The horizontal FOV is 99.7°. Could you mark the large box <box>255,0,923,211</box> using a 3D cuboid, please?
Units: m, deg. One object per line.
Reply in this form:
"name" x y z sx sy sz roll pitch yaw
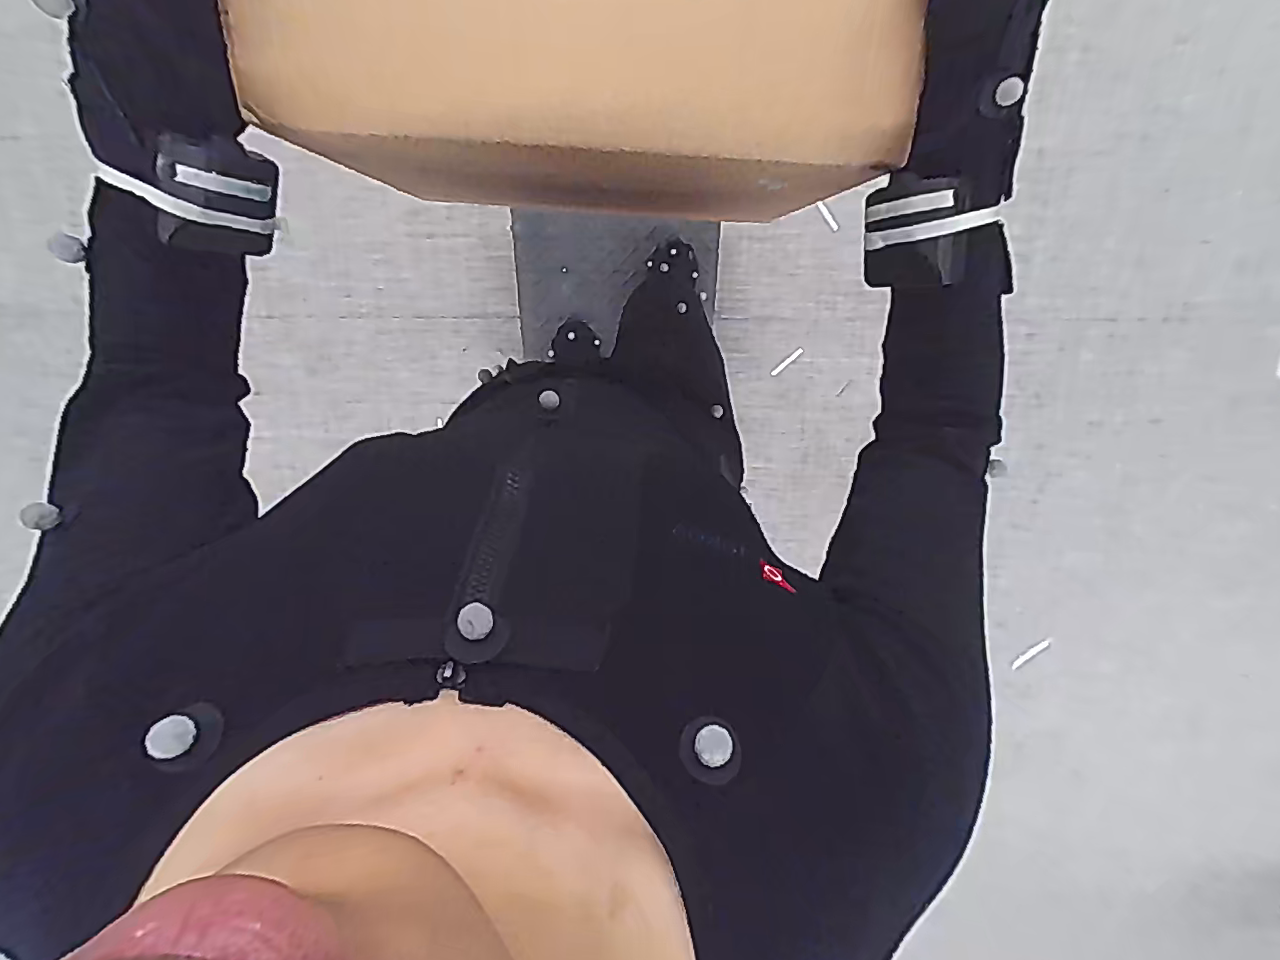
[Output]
"large box" -0.031 -0.412 0.434 0.408 0.320 0.320 1 110 -4
